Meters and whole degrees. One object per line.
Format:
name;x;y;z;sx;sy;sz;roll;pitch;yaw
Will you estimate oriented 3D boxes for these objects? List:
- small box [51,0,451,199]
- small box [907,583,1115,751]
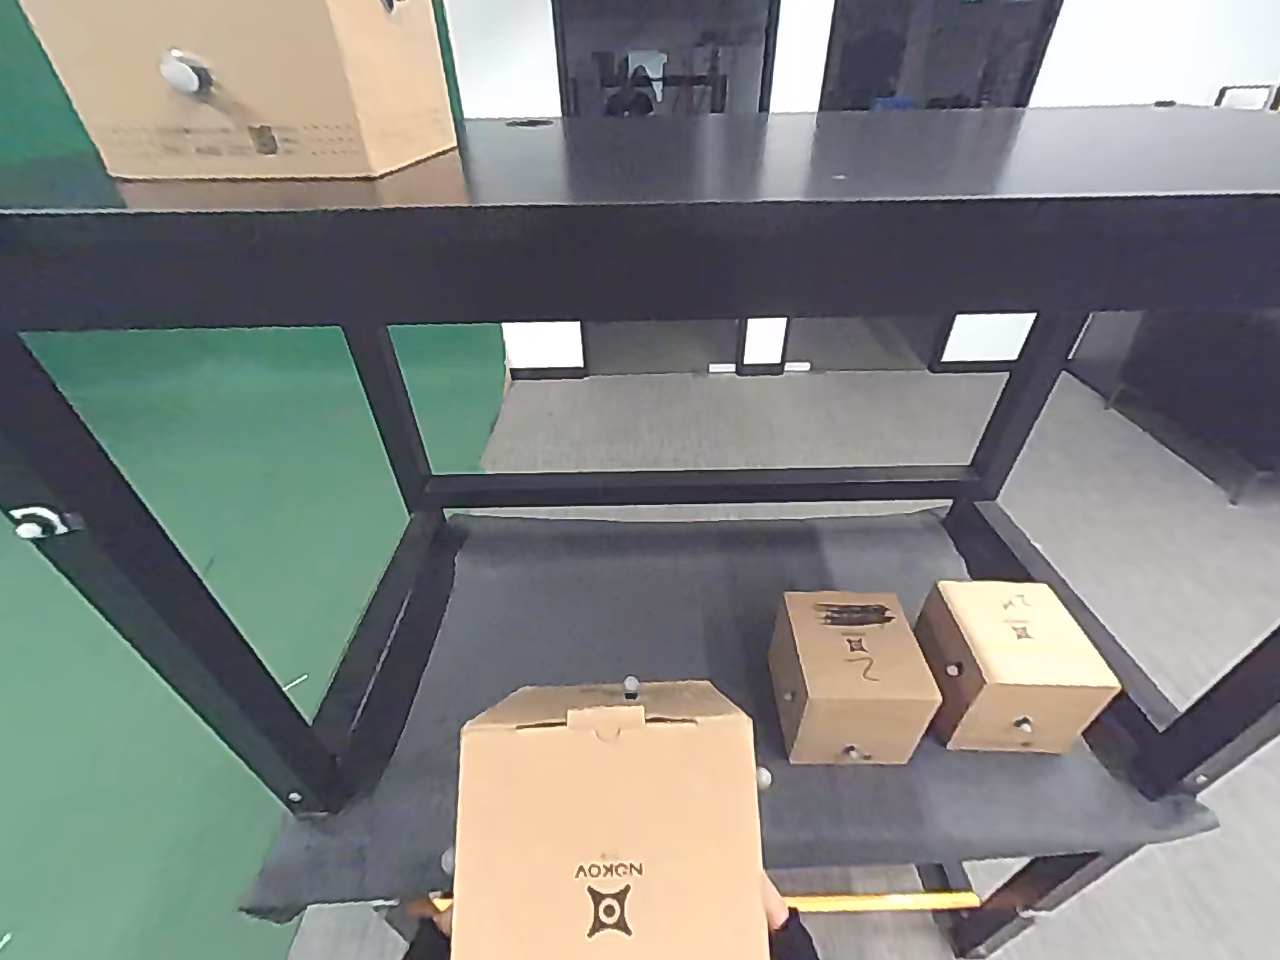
small box;-0.238;-0.294;0.355;0.168;0.176;0.179;0;38;1
small box;0.521;0.272;0.792;0.168;0.176;0.179;1;36;3
